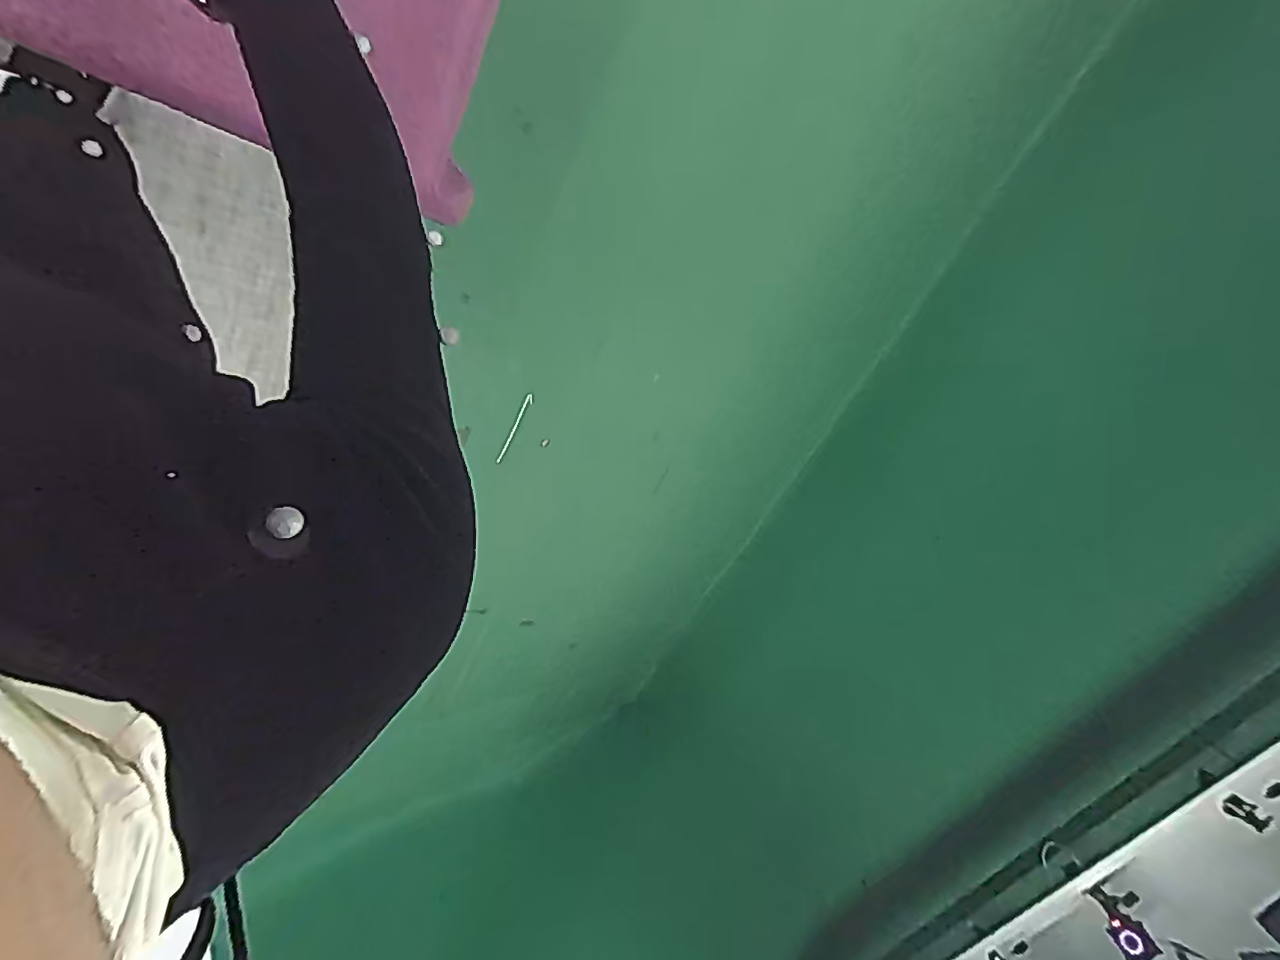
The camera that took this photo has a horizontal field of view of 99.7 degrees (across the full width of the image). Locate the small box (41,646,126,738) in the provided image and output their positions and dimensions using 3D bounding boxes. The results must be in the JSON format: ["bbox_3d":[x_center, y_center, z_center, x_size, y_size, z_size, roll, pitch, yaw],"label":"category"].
[{"bbox_3d":[-1.668,0.628,1.621,0.168,0.176,0.179,4,126,-48],"label":"small box"}]
